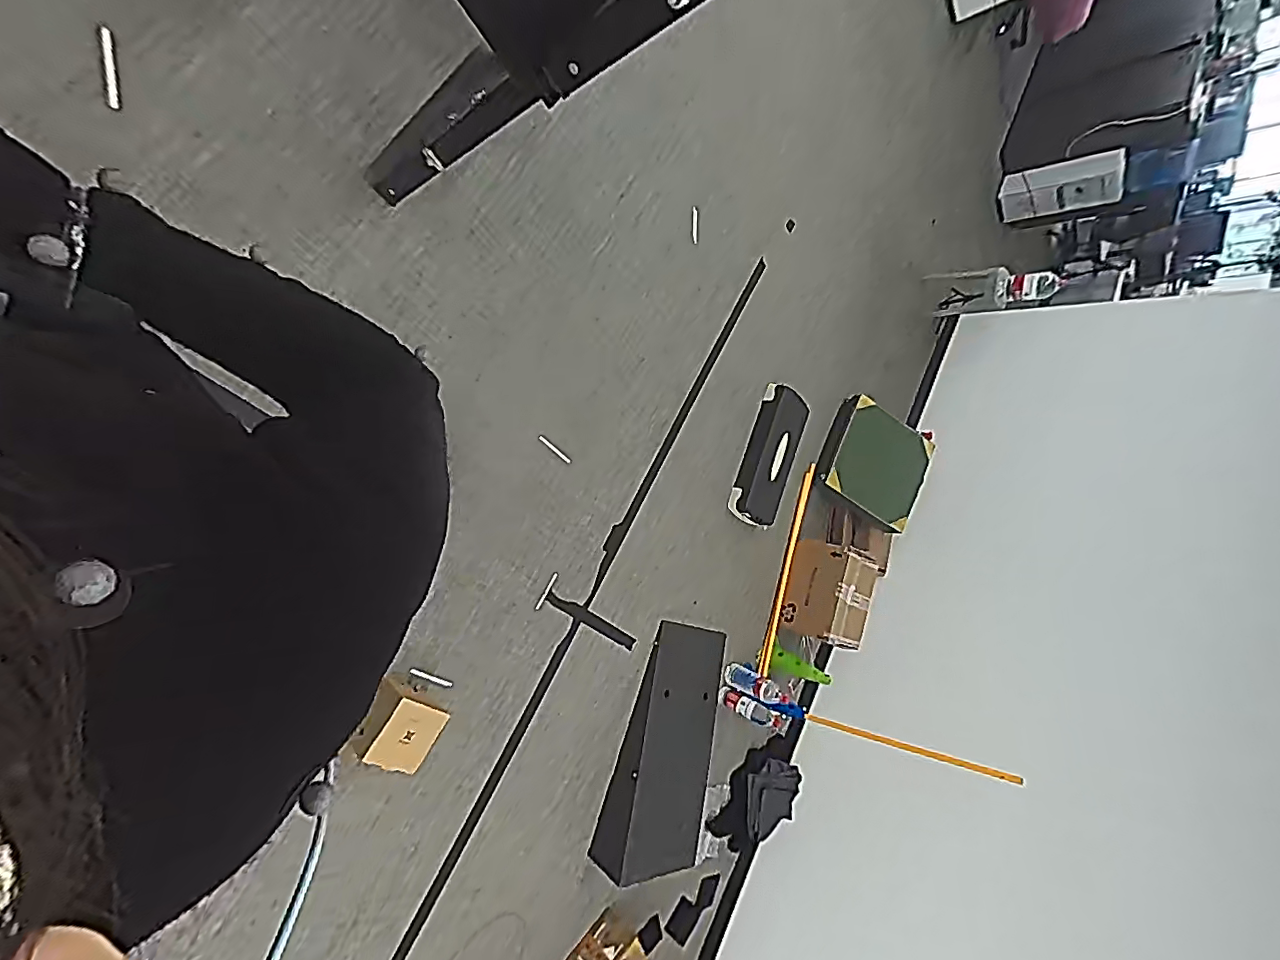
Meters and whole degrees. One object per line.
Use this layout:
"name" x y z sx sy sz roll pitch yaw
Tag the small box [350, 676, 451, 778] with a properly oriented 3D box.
"small box" -0.662 0.672 1.481 0.168 0.176 0.179 46 66 -39
